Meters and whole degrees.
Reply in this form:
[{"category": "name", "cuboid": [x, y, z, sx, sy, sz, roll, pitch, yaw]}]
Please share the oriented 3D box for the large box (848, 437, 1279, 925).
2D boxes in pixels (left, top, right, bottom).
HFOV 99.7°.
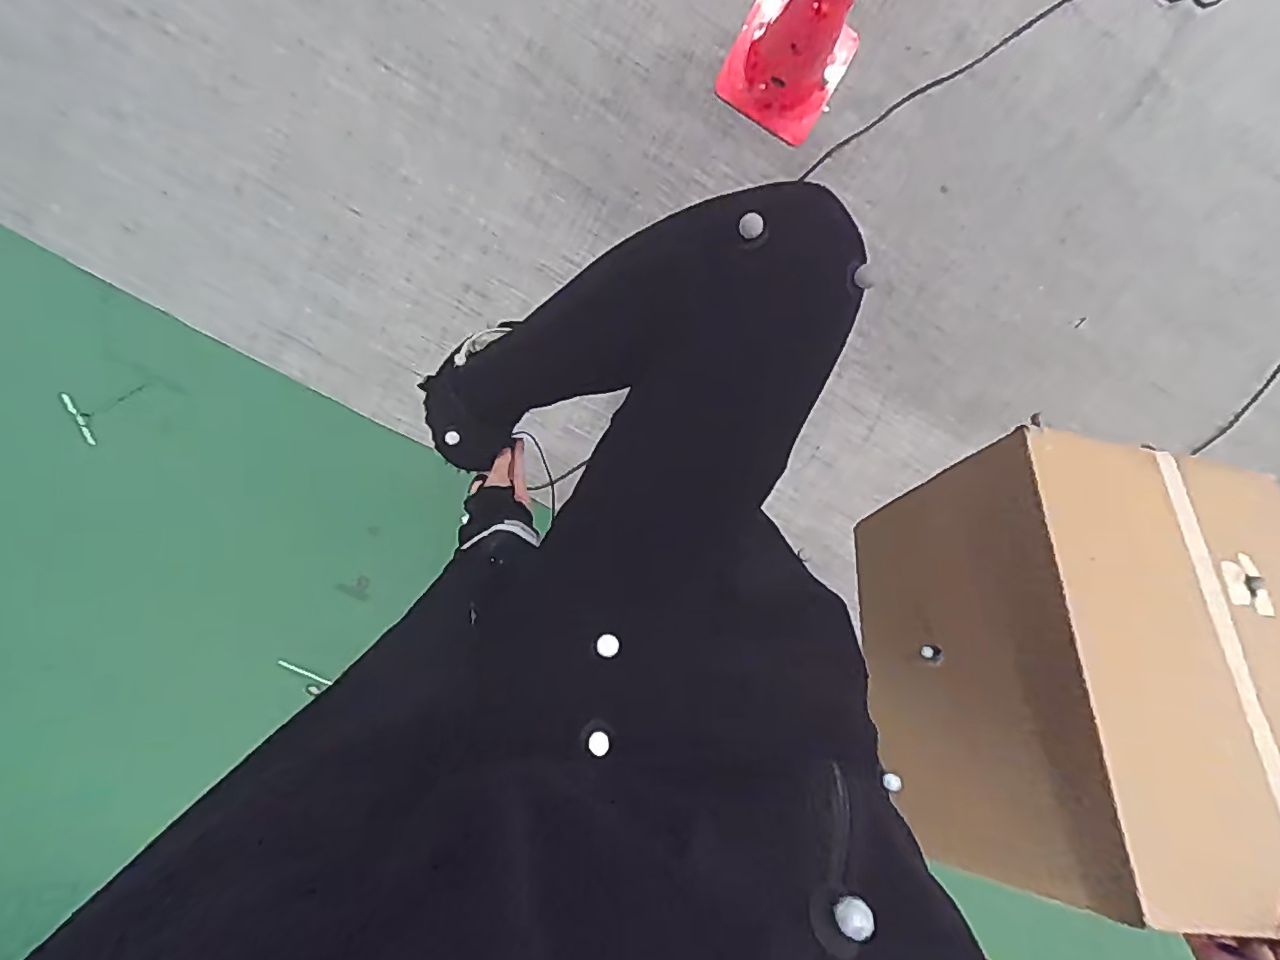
[{"category": "large box", "cuboid": [0.470, 0.219, 0.622, 0.320, 0.408, 0.320, 10, 154, -9]}]
